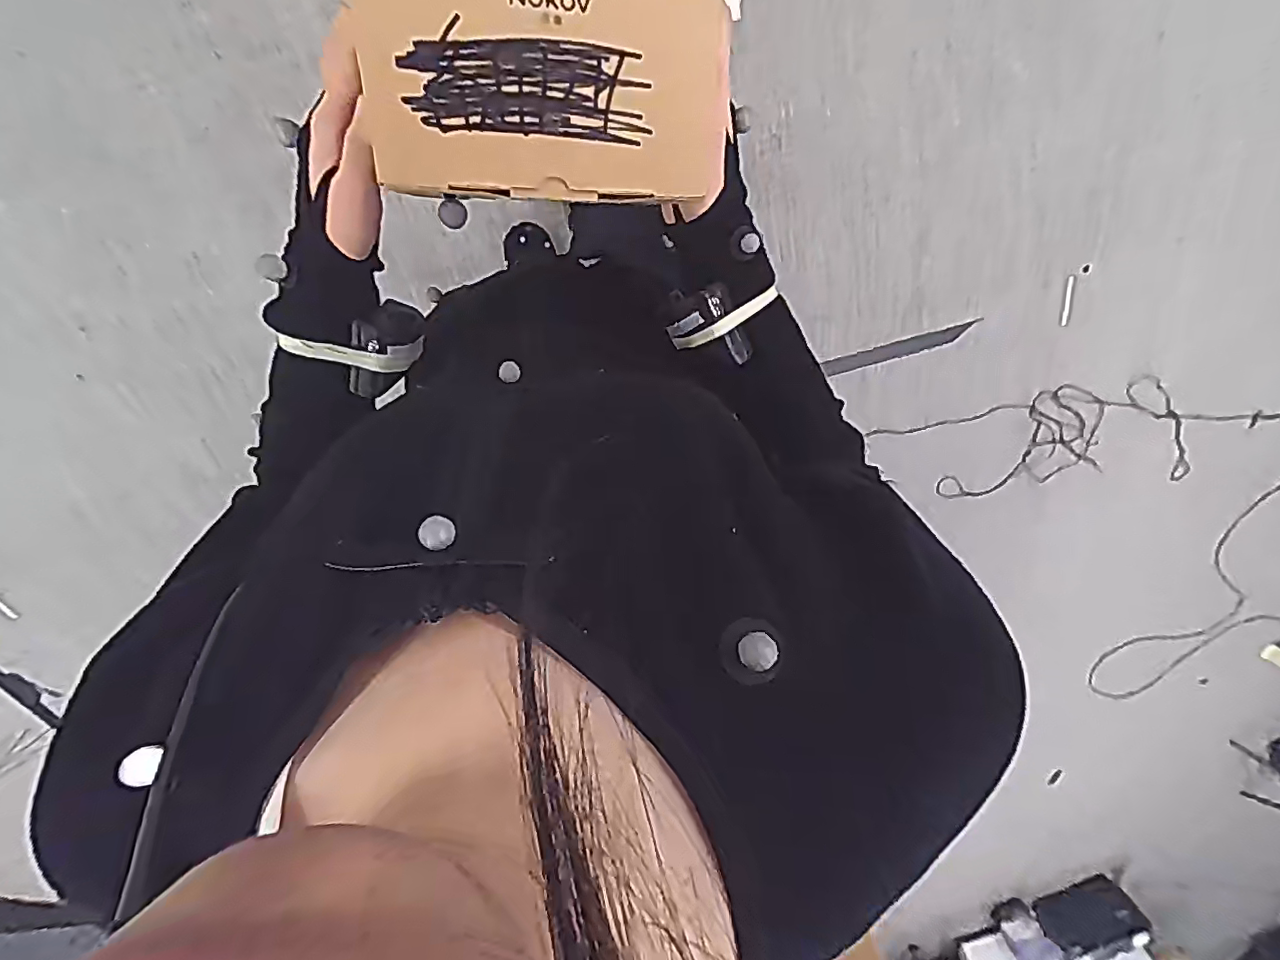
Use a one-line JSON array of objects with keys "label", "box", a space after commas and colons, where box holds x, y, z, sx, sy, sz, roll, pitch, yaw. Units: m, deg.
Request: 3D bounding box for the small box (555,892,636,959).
[{"label": "small box", "box": [-0.098, 1.103, 1.253, 0.168, 0.176, 0.179, -12, 119, -6]}]
